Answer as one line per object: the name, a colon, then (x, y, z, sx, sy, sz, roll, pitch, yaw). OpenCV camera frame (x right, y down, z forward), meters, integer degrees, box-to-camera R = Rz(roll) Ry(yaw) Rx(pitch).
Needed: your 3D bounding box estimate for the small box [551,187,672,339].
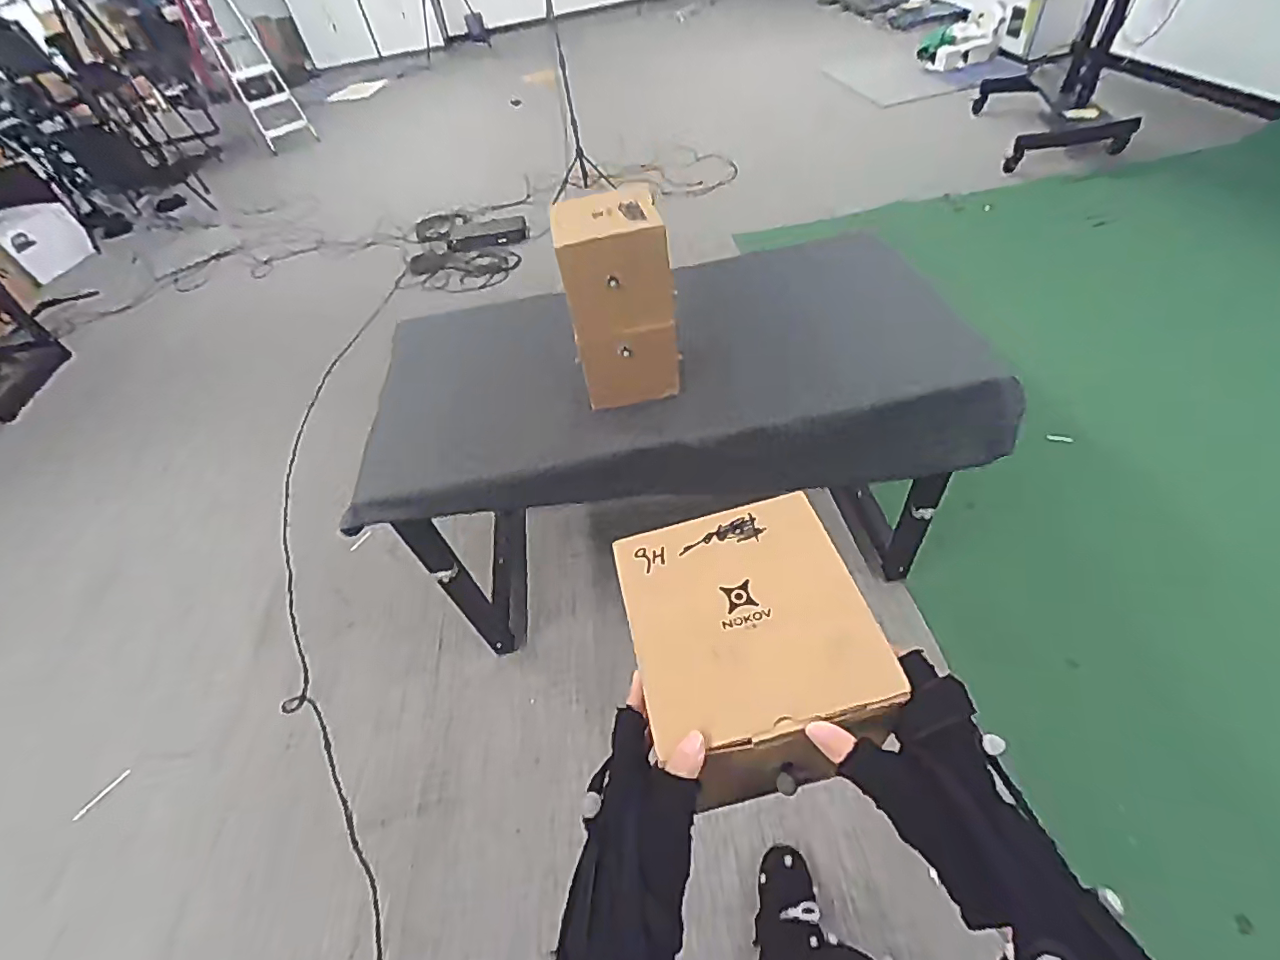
small box: (-0.044, -0.366, 0.925, 0.179, 0.176, 0.168, -12, 49, 1)

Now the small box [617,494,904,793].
small box: (0.089, 0.145, 0.455, 0.168, 0.176, 0.179, -15, 50, -1)

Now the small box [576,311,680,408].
small box: (-0.023, -0.258, 1.047, 0.179, 0.176, 0.168, -10, 50, 0)
